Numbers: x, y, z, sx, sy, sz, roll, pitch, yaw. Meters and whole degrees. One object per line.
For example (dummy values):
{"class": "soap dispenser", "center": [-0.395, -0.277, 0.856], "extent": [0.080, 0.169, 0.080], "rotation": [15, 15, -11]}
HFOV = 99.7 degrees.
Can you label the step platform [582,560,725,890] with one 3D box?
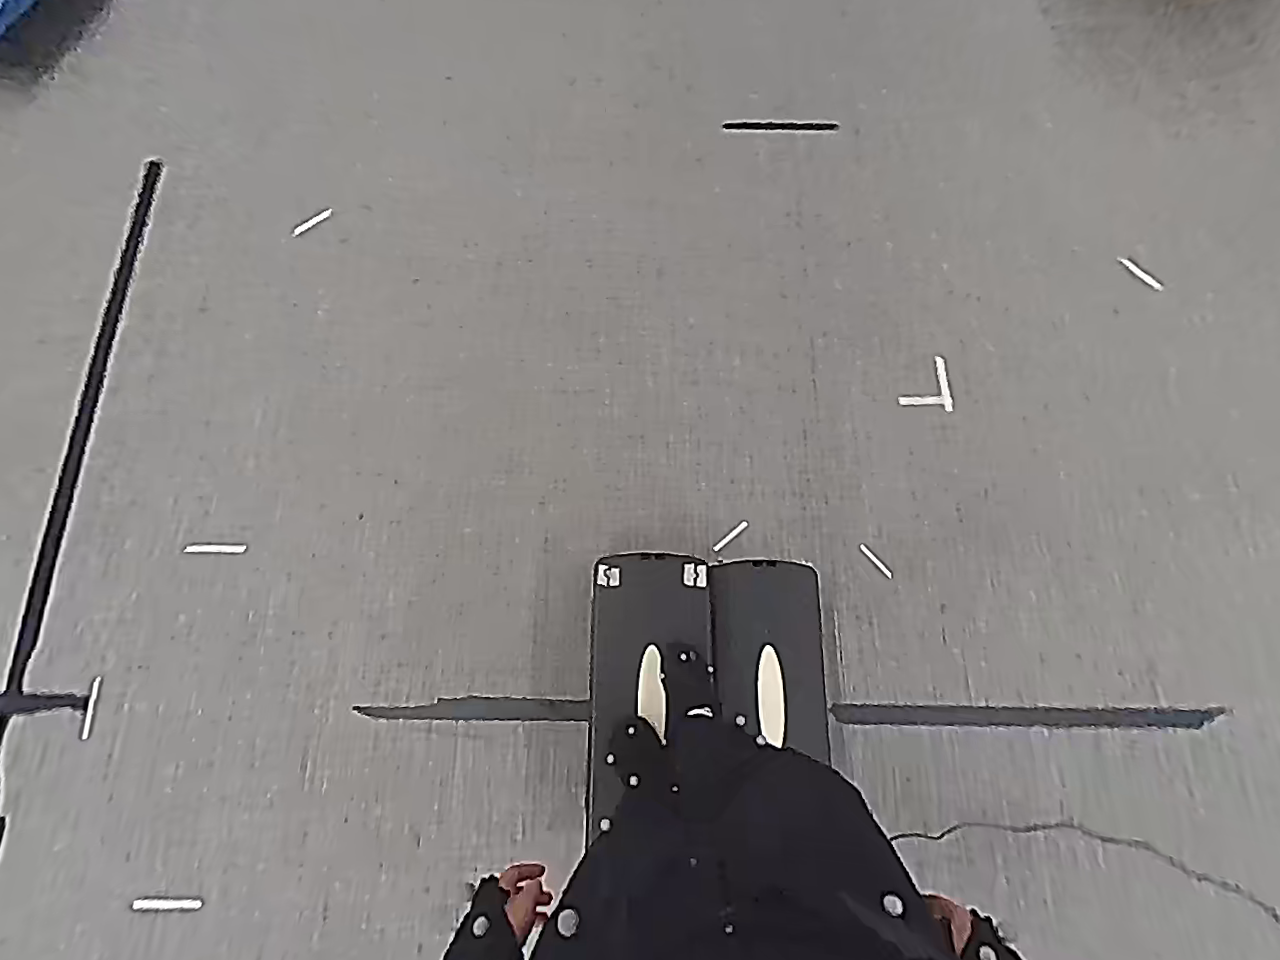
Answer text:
{"class": "step platform", "center": [0.039, 0.531, 1.259], "extent": [0.286, 0.204, 0.684], "rotation": [4, 73, 0]}
